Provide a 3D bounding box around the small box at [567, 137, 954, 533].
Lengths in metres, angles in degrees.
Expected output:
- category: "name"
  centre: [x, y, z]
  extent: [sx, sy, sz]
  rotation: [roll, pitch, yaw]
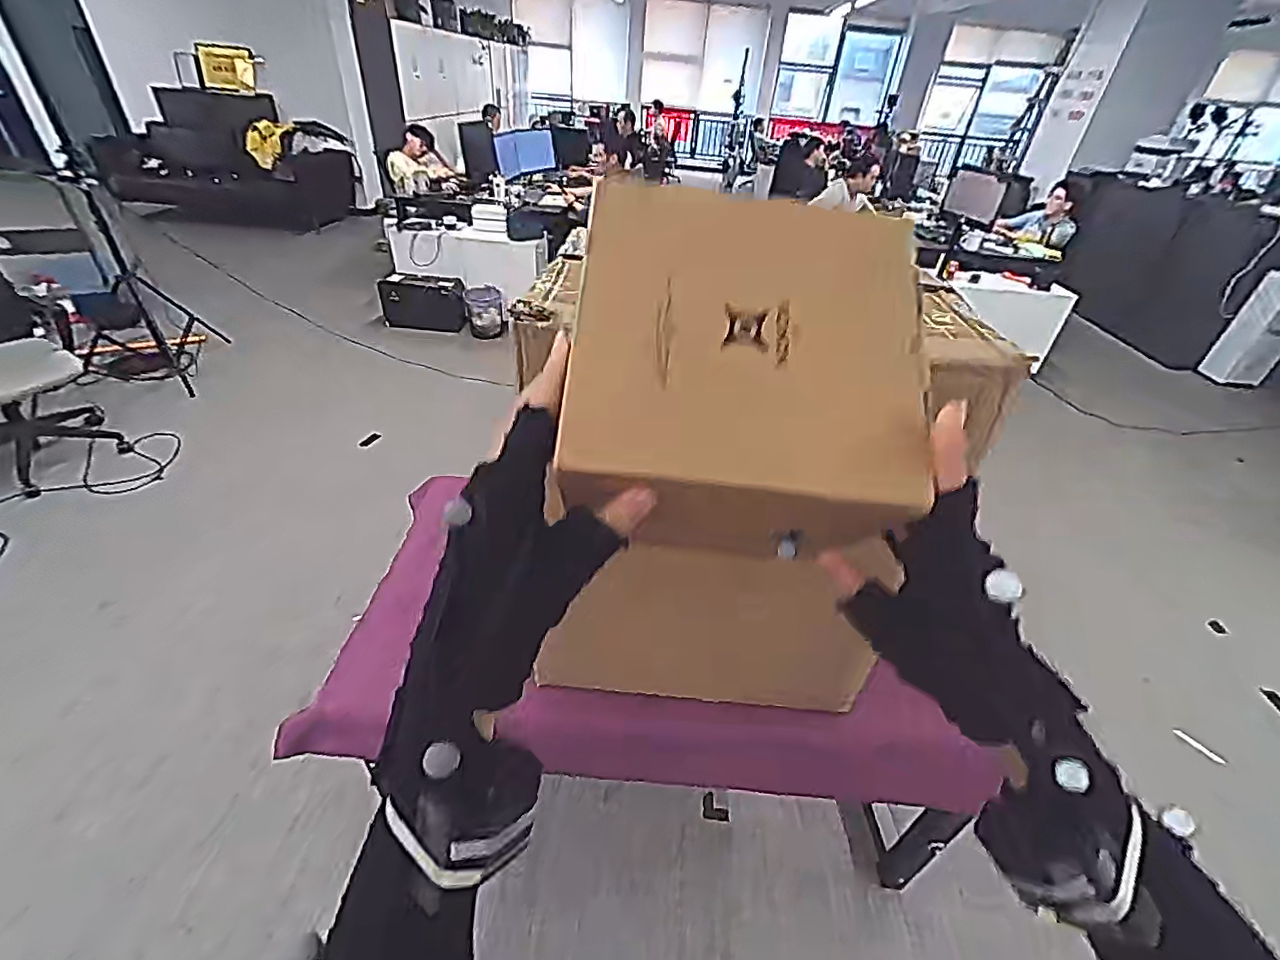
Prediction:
- category: "small box"
  centre: [0.055, -0.066, 0.334]
  extent: [0.179, 0.176, 0.168]
  rotation: [5, 73, -3]
